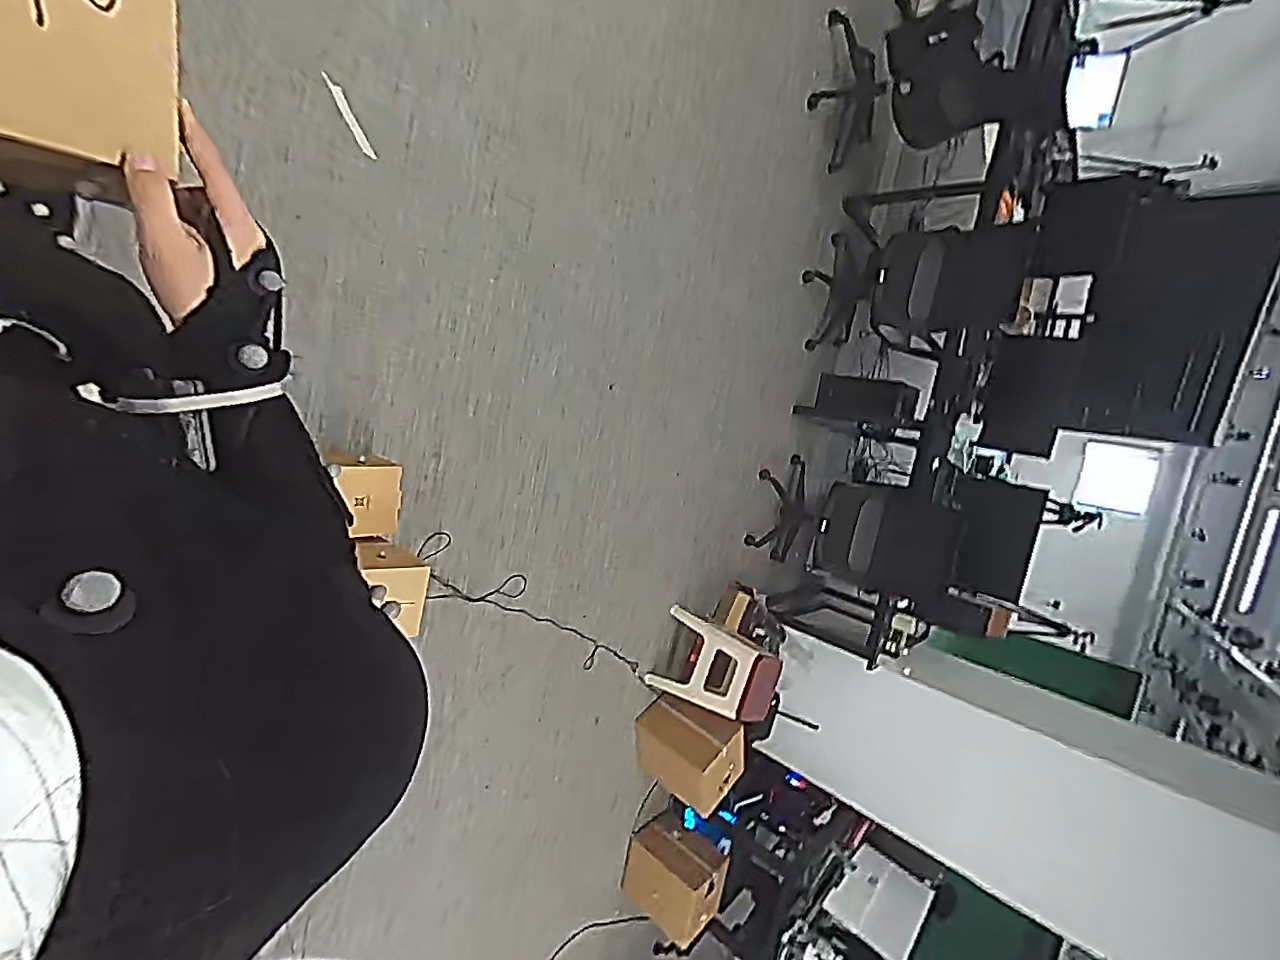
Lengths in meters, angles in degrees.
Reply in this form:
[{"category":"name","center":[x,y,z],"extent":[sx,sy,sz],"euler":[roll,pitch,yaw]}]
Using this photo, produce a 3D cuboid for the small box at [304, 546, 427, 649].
[{"category":"small box","center":[-0.596,0.244,1.169],"extent":[0.179,0.176,0.168],"euler":[8,96,-52]}]
